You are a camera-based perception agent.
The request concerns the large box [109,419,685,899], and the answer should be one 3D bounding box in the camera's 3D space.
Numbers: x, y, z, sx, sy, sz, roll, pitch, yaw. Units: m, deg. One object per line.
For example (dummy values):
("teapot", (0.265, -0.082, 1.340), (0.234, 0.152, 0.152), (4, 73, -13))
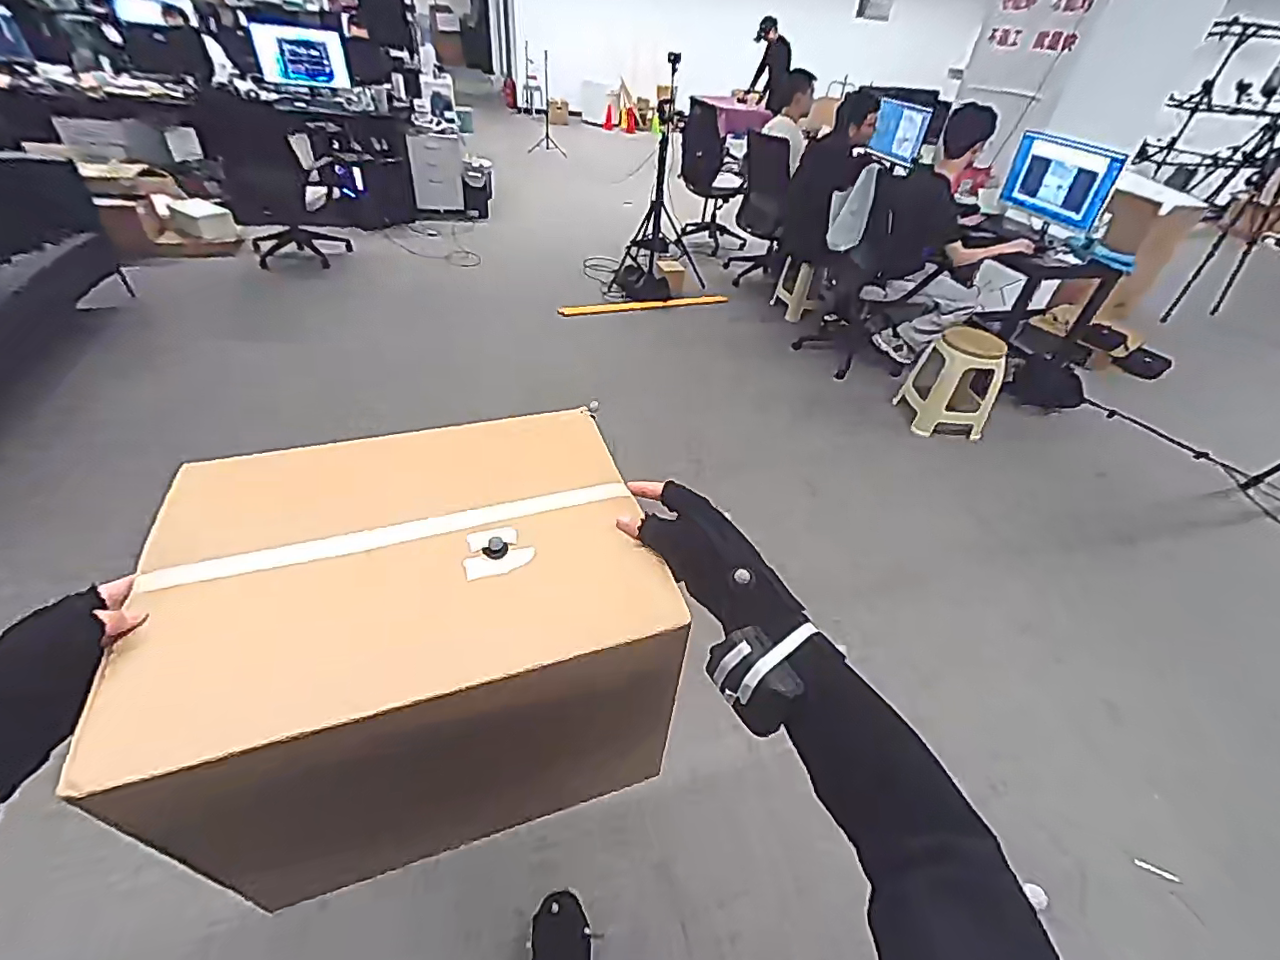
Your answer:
("large box", (-0.208, 0.166, 0.591), (0.408, 0.320, 0.320), (-10, 43, -18))
